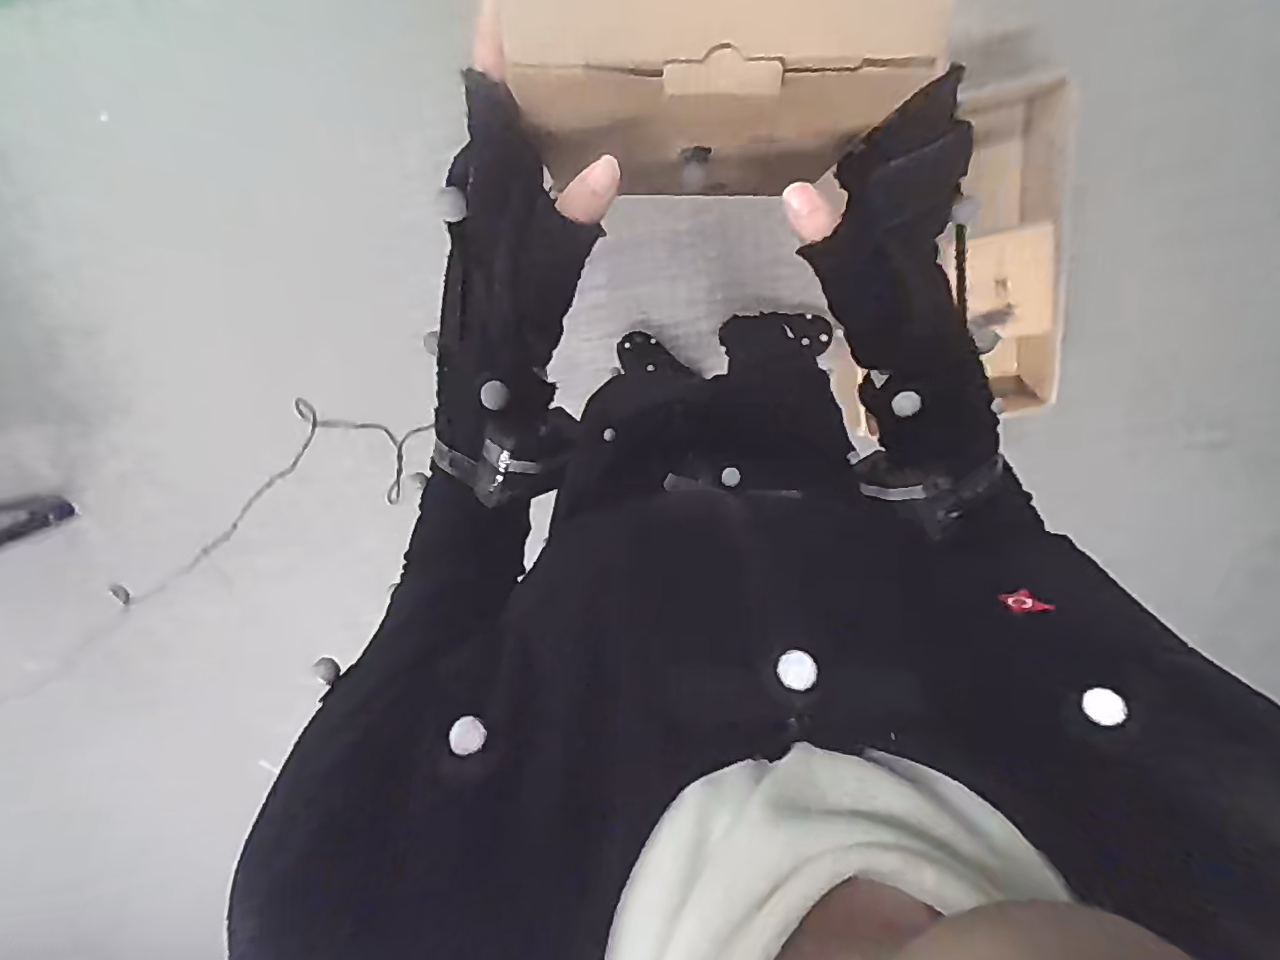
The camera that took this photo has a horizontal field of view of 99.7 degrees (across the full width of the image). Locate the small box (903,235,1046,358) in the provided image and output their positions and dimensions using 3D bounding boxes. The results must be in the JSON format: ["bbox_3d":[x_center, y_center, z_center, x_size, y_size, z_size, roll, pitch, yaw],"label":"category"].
[{"bbox_3d":[0.591,-0.332,0.978,0.168,0.176,0.179,-9,110,8],"label":"small box"}]
